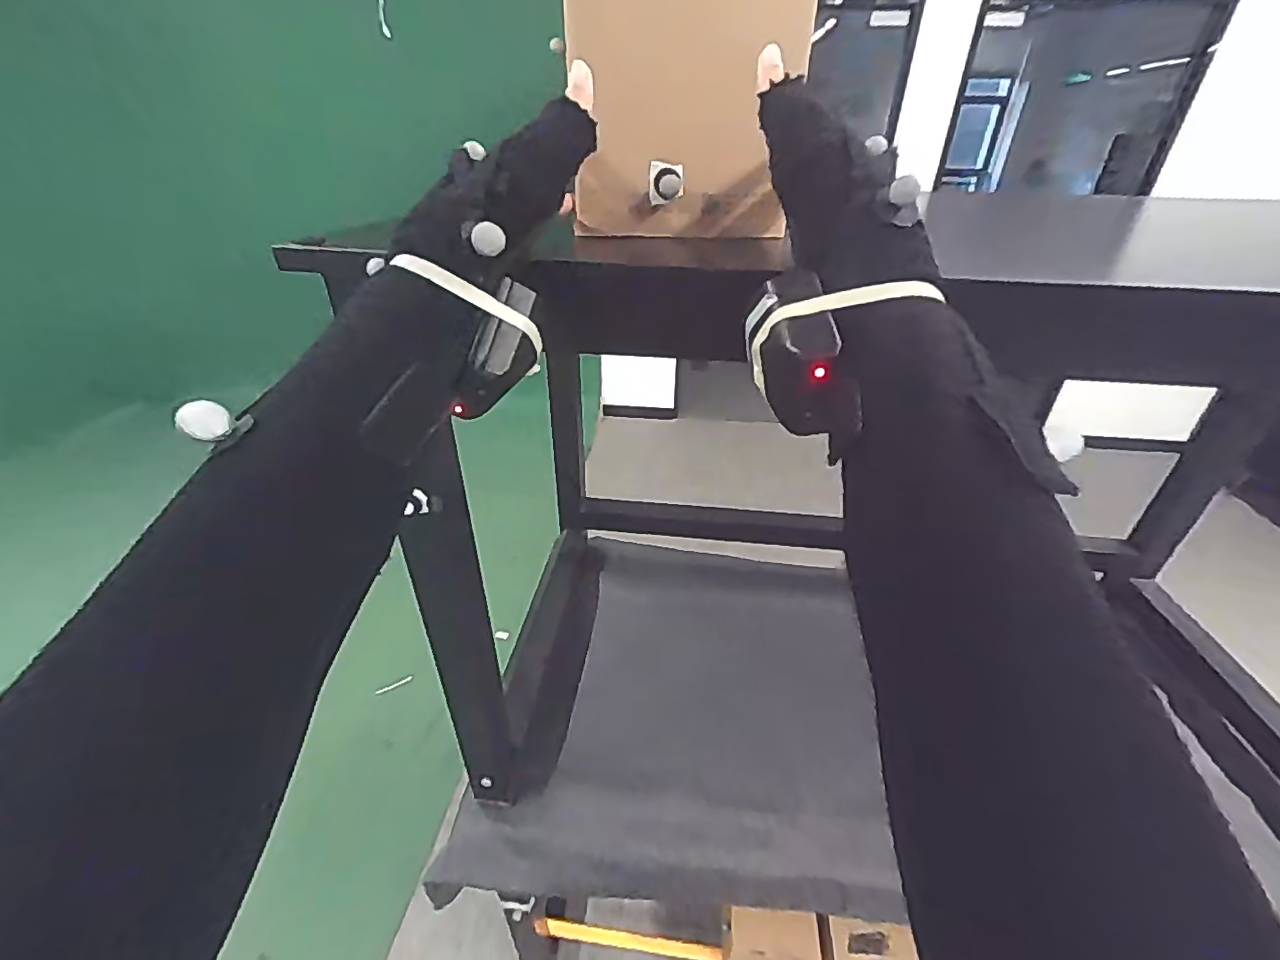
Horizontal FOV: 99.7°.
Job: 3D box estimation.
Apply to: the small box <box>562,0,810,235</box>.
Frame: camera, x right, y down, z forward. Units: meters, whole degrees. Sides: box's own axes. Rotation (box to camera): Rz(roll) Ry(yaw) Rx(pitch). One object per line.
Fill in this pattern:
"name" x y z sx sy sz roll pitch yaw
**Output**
"small box" 0.023 -0.310 0.450 0.168 0.176 0.179 -2 34 -4
